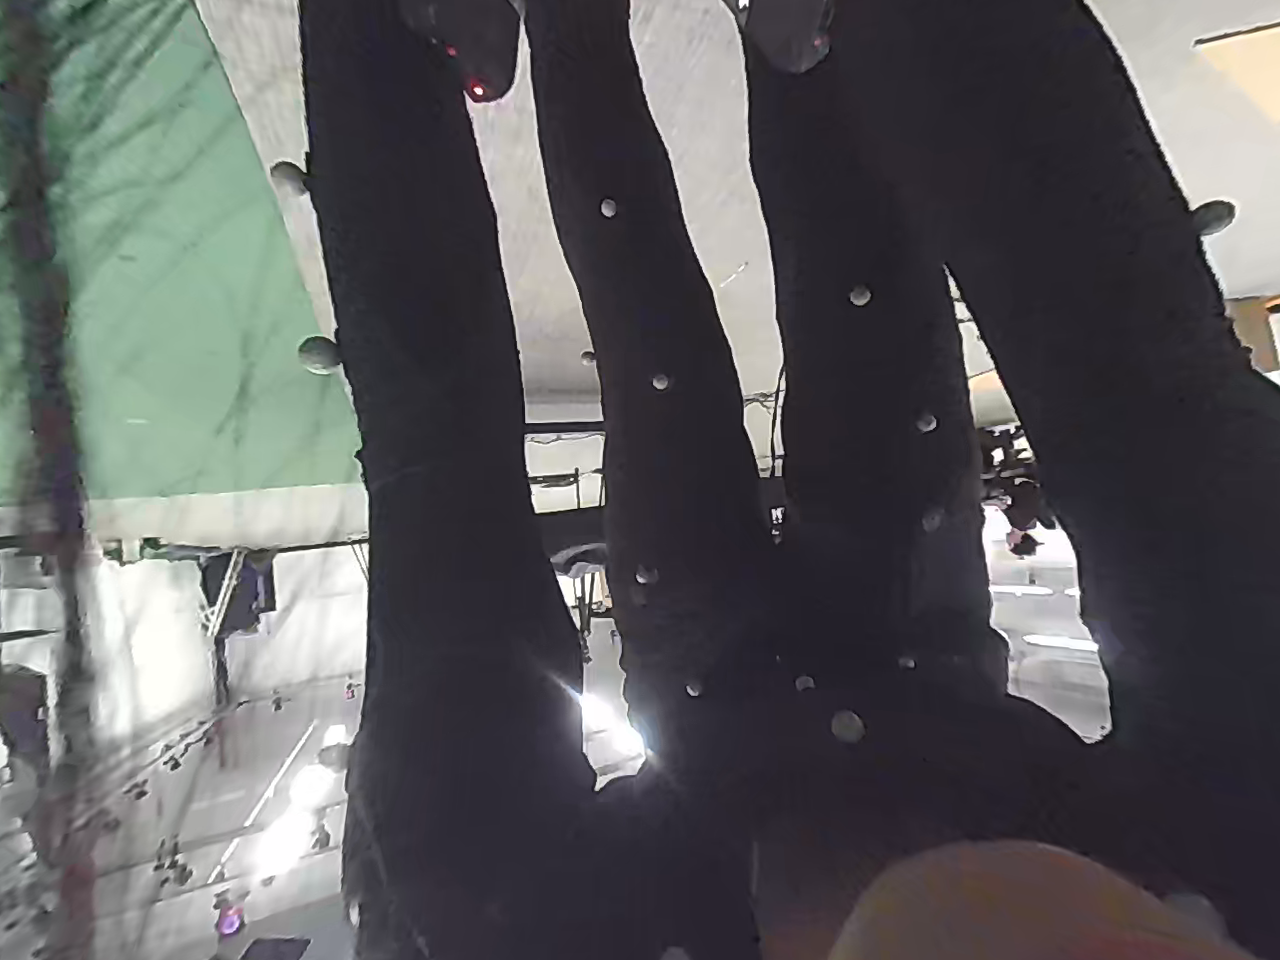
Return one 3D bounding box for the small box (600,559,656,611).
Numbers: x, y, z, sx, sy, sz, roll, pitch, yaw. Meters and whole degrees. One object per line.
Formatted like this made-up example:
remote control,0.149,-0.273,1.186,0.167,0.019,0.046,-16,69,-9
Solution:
small box,-0.052,0.402,2.094,0.168,0.176,0.179,-5,174,-19
